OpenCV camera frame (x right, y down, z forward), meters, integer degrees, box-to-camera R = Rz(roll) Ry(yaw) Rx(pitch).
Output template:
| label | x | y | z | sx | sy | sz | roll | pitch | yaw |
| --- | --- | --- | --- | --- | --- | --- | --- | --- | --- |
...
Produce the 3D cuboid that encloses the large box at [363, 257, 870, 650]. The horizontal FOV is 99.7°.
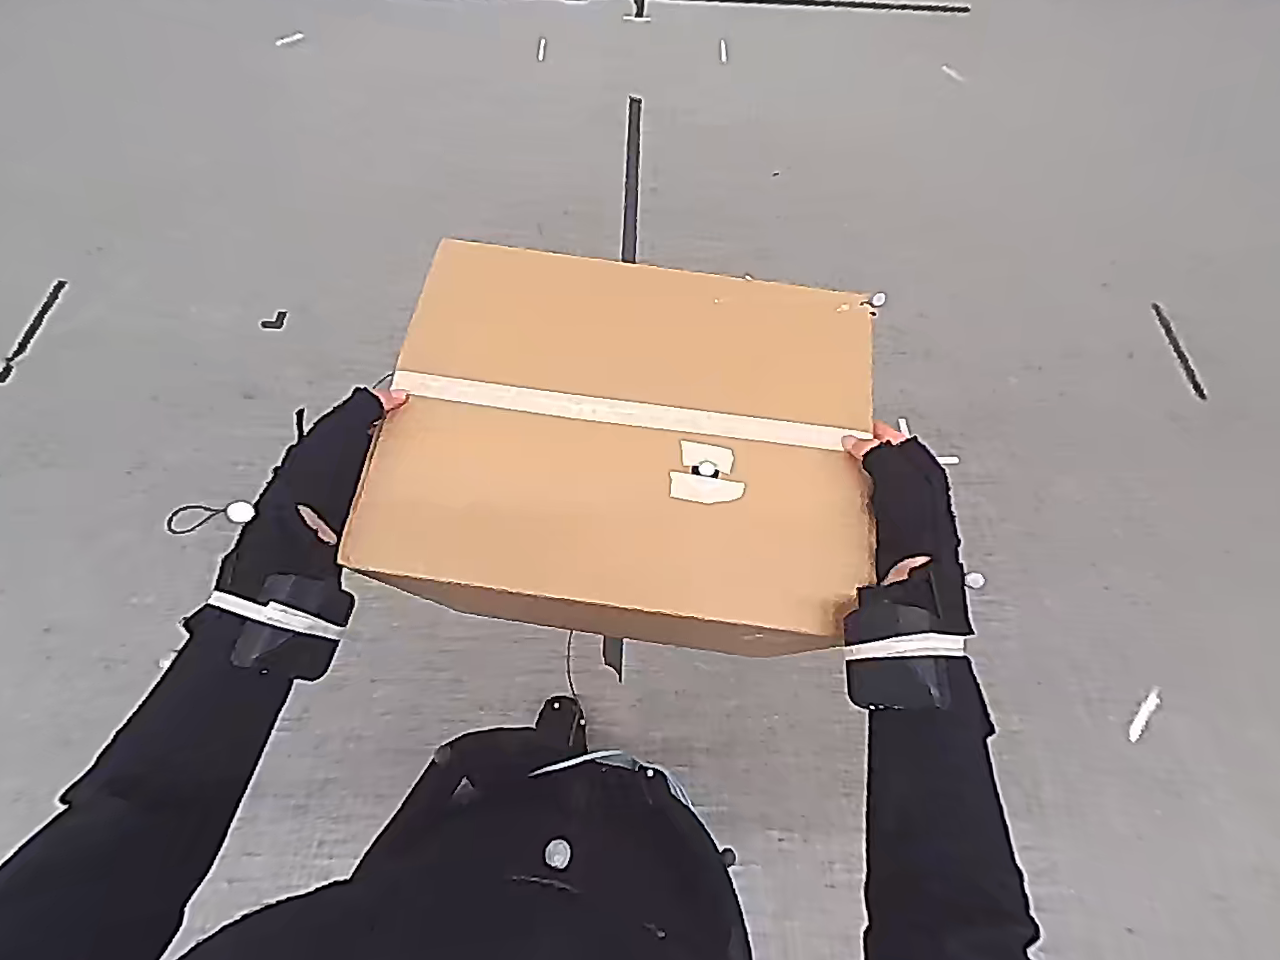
| label | x | y | z | sx | sy | sz | roll | pitch | yaw |
| --- | --- | --- | --- | --- | --- | --- | --- | --- | --- |
| large box | -0.010 | 0.002 | 0.606 | 0.408 | 0.320 | 0.320 | 8 | 71 | 0 |
